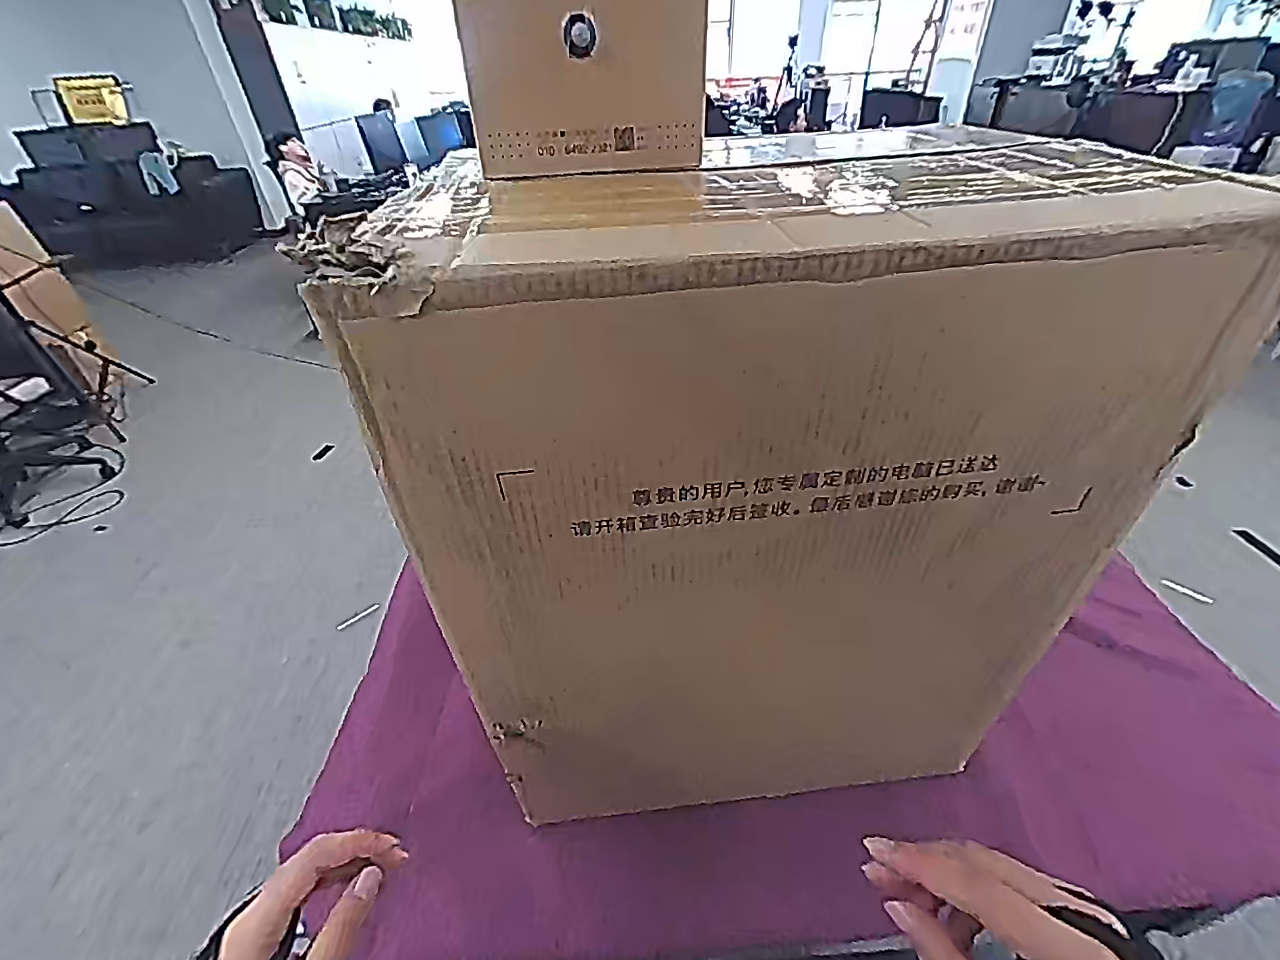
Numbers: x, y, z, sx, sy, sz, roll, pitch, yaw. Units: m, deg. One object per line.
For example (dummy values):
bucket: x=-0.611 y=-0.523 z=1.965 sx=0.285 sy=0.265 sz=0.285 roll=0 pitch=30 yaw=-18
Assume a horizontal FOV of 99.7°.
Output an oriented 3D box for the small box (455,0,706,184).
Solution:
small box: x=-0.048 y=-0.334 z=0.419 sx=0.168 sy=0.176 sz=0.179 roll=-8 pitch=38 yaw=-9
